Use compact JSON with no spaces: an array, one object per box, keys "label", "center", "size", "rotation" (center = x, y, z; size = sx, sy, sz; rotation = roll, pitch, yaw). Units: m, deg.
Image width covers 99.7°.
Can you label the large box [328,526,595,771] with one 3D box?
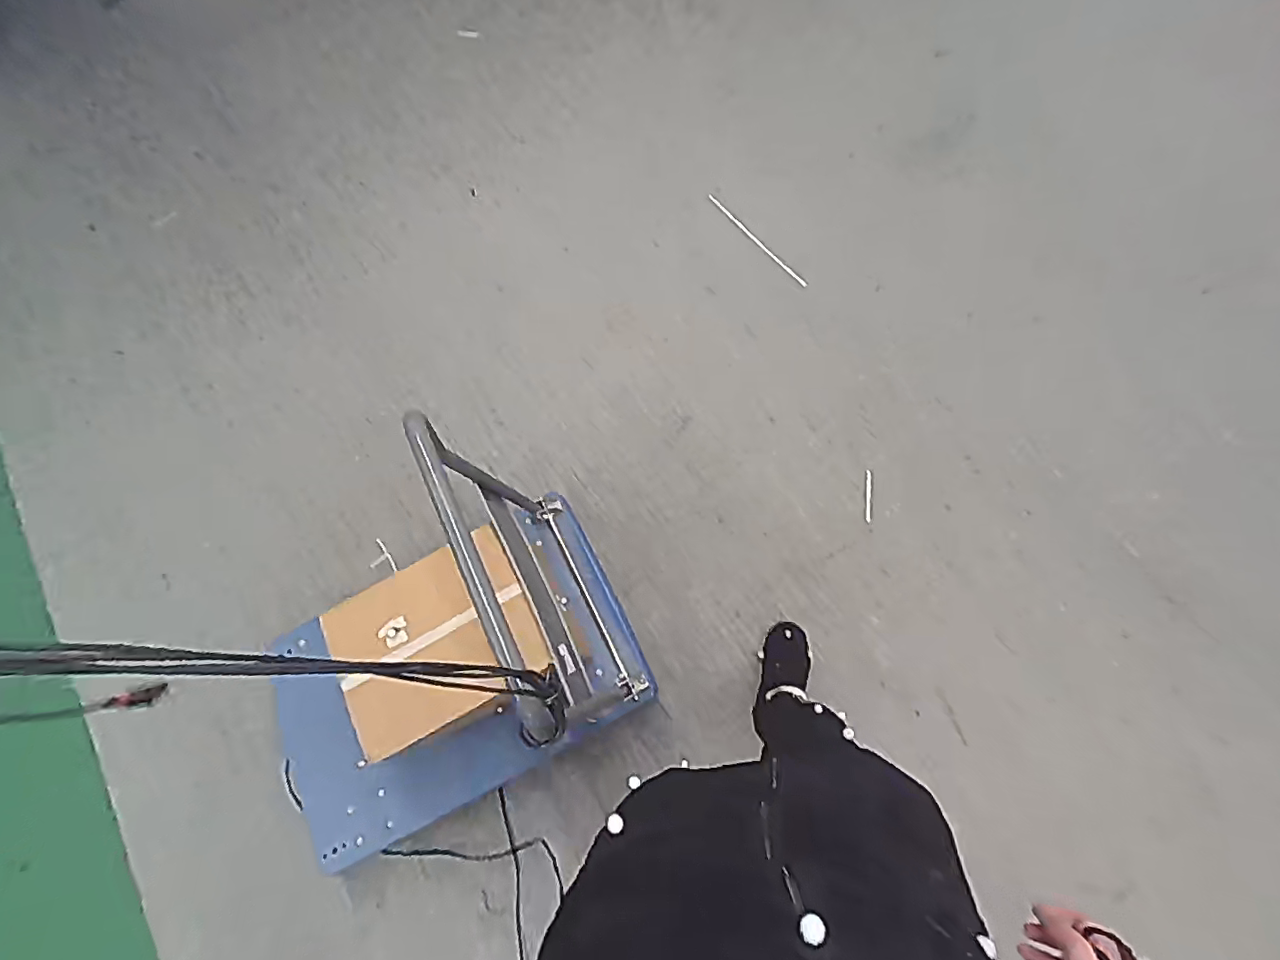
[{"label":"large box","center":[-0.365,0.353,1.187],"size":[0.408,0.320,0.320],"rotation":[-30,71,-1]}]
